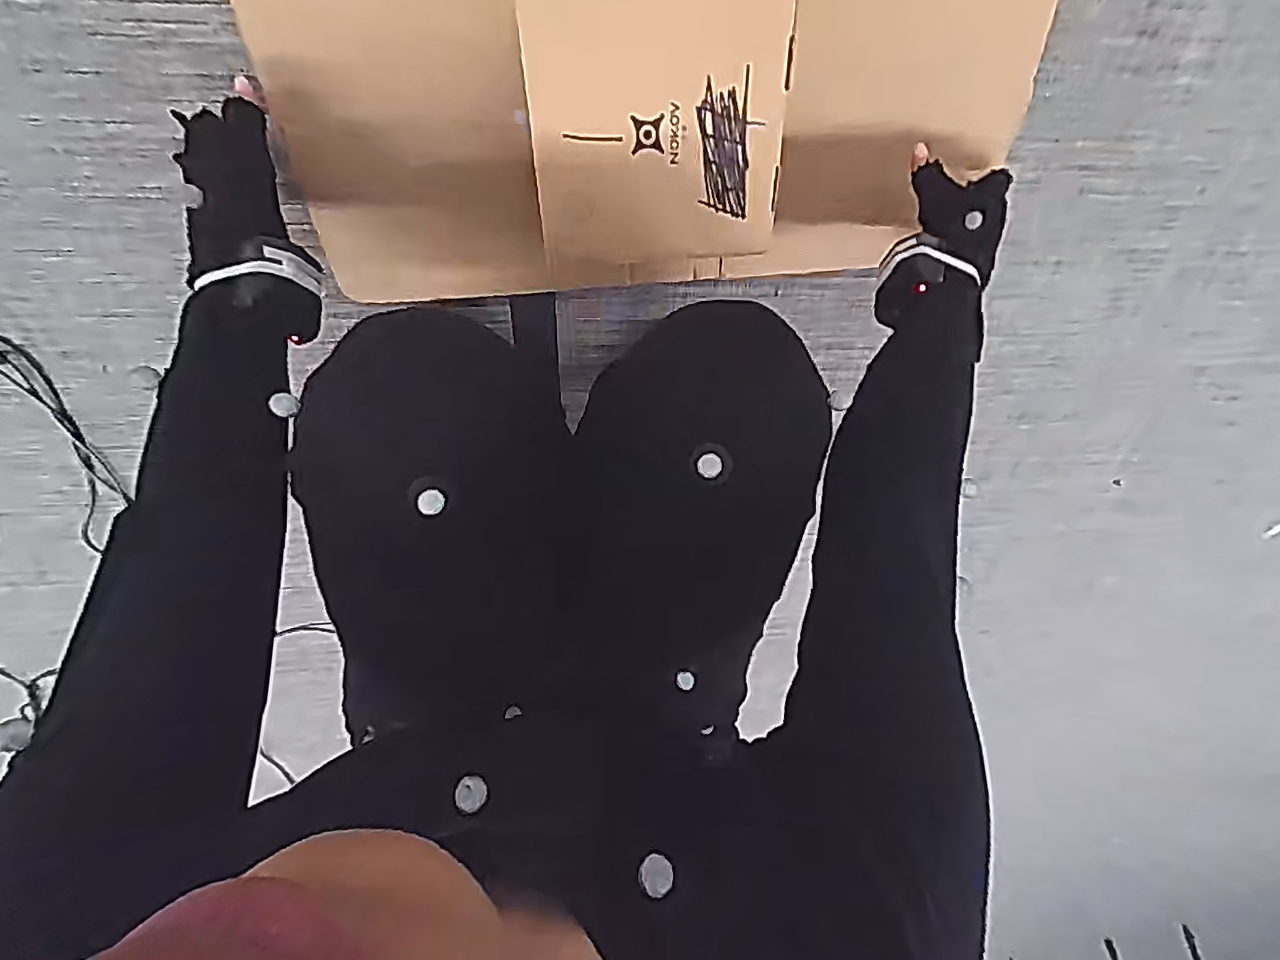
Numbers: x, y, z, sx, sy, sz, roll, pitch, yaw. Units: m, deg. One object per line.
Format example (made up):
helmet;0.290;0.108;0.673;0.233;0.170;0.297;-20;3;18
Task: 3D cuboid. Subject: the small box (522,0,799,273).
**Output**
small box;0.006;-0.280;0.439;0.179;0.176;0.168;-5;128;-4
